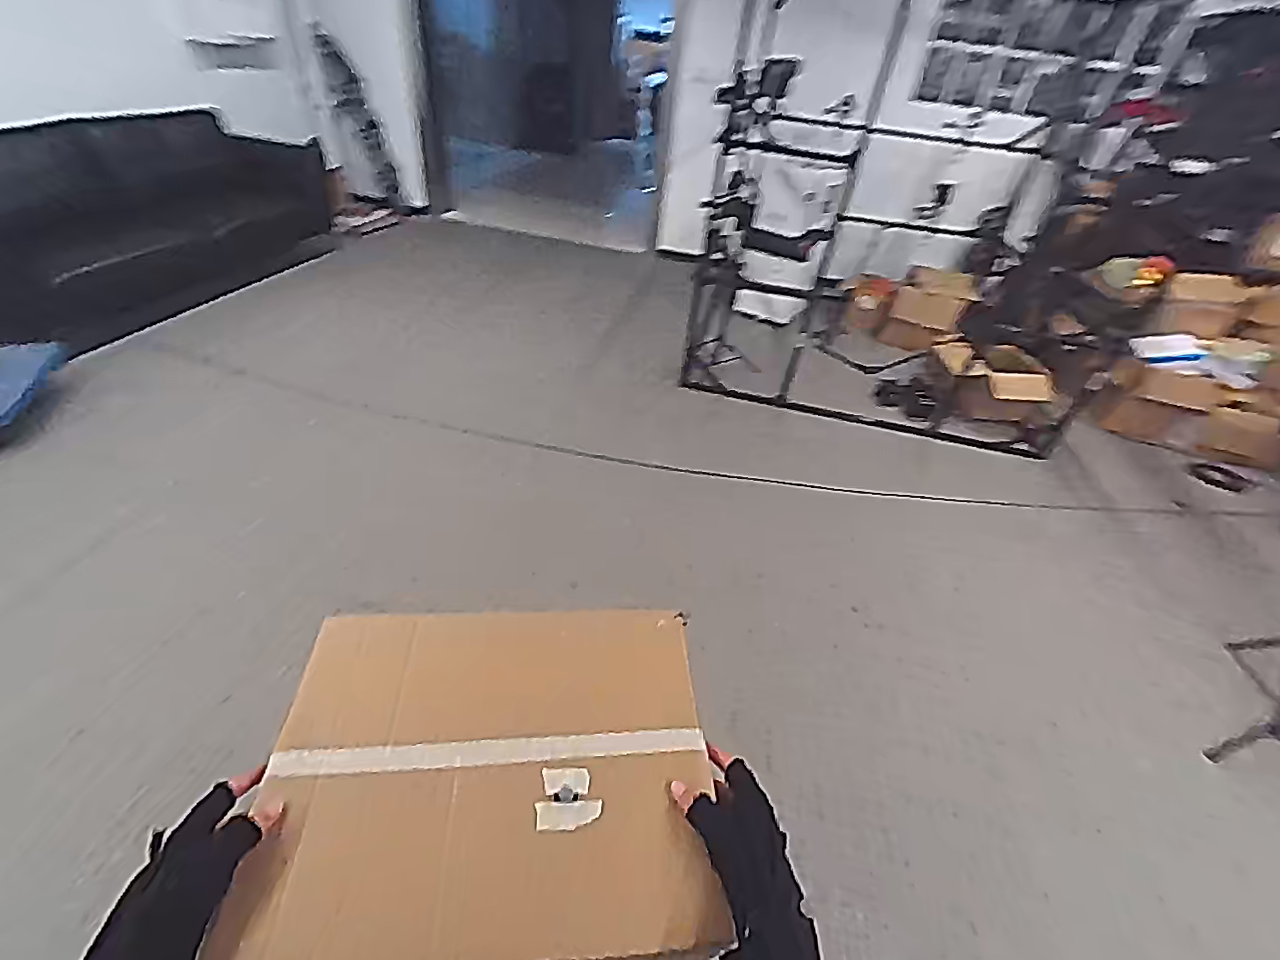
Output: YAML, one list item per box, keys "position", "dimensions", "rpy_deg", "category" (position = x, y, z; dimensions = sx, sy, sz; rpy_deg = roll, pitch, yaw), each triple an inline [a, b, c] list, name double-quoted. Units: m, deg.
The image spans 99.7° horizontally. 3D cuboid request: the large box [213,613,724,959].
- position: [-0.158, 0.378, 0.629]
  dimensions: [0.408, 0.320, 0.320]
  rpy_deg: [1, 44, -9]
  category: "large box"
